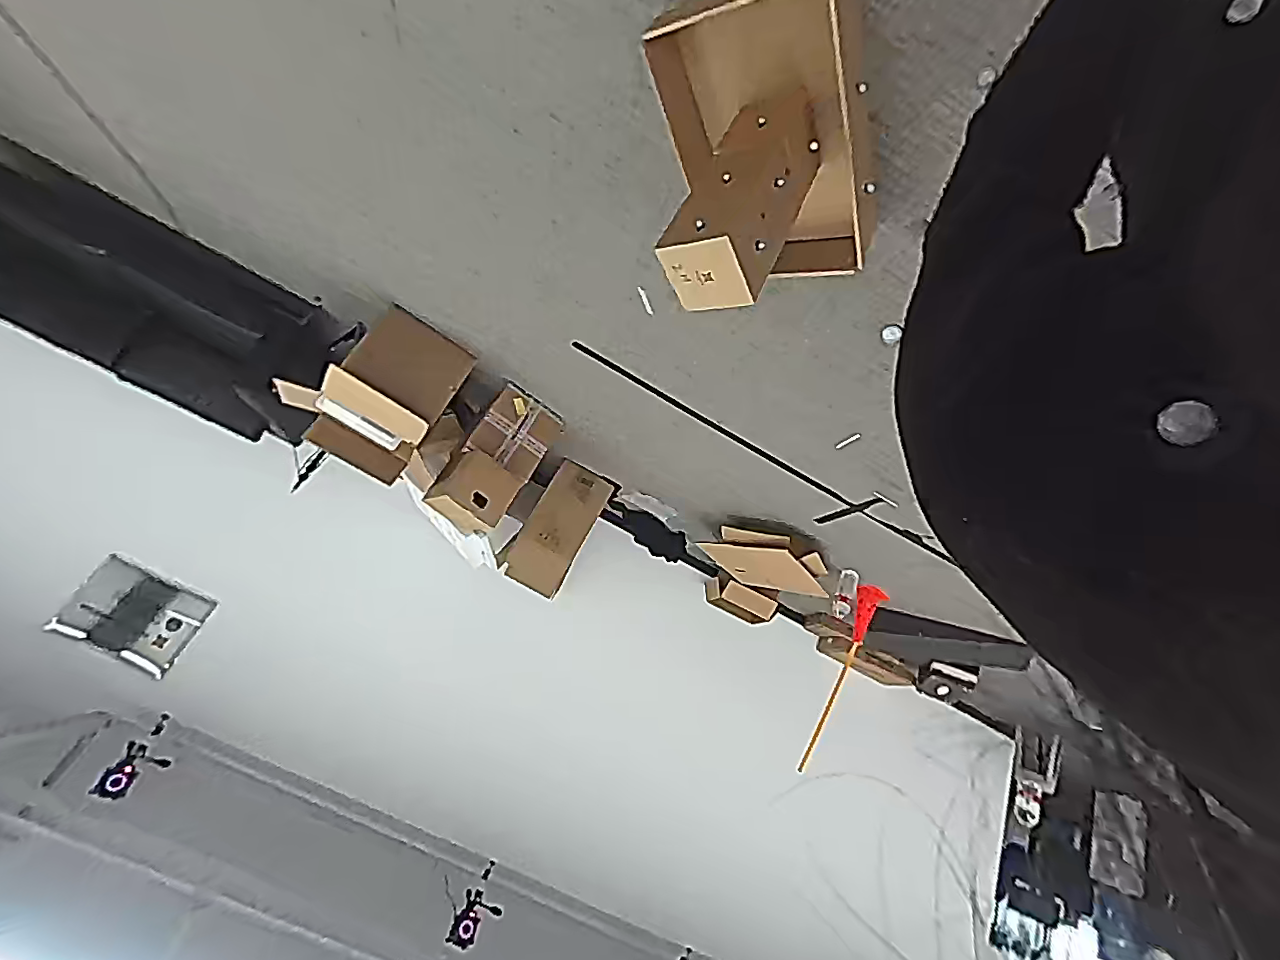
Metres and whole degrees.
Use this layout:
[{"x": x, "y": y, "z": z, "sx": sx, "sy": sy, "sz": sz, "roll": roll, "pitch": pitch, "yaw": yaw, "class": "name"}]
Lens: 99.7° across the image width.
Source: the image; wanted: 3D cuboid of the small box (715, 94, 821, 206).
[{"x": 0.304, "y": -0.758, "z": 1.264, "sx": 0.179, "sy": 0.176, "sz": 0.168, "roll": 10, "pitch": 153, "yaw": 33, "class": "small box"}]

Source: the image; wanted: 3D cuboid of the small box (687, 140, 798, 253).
[{"x": 0.238, "y": -0.621, "z": 1.209, "sx": 0.179, "sy": 0.176, "sz": 0.168, "roll": 10, "pitch": 151, "yaw": 38, "class": "small box"}]

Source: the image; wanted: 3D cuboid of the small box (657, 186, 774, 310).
[{"x": 0.168, "y": -0.486, "z": 1.140, "sx": 0.179, "sy": 0.176, "sz": 0.168, "roll": 8, "pitch": 150, "yaw": 37, "class": "small box"}]
